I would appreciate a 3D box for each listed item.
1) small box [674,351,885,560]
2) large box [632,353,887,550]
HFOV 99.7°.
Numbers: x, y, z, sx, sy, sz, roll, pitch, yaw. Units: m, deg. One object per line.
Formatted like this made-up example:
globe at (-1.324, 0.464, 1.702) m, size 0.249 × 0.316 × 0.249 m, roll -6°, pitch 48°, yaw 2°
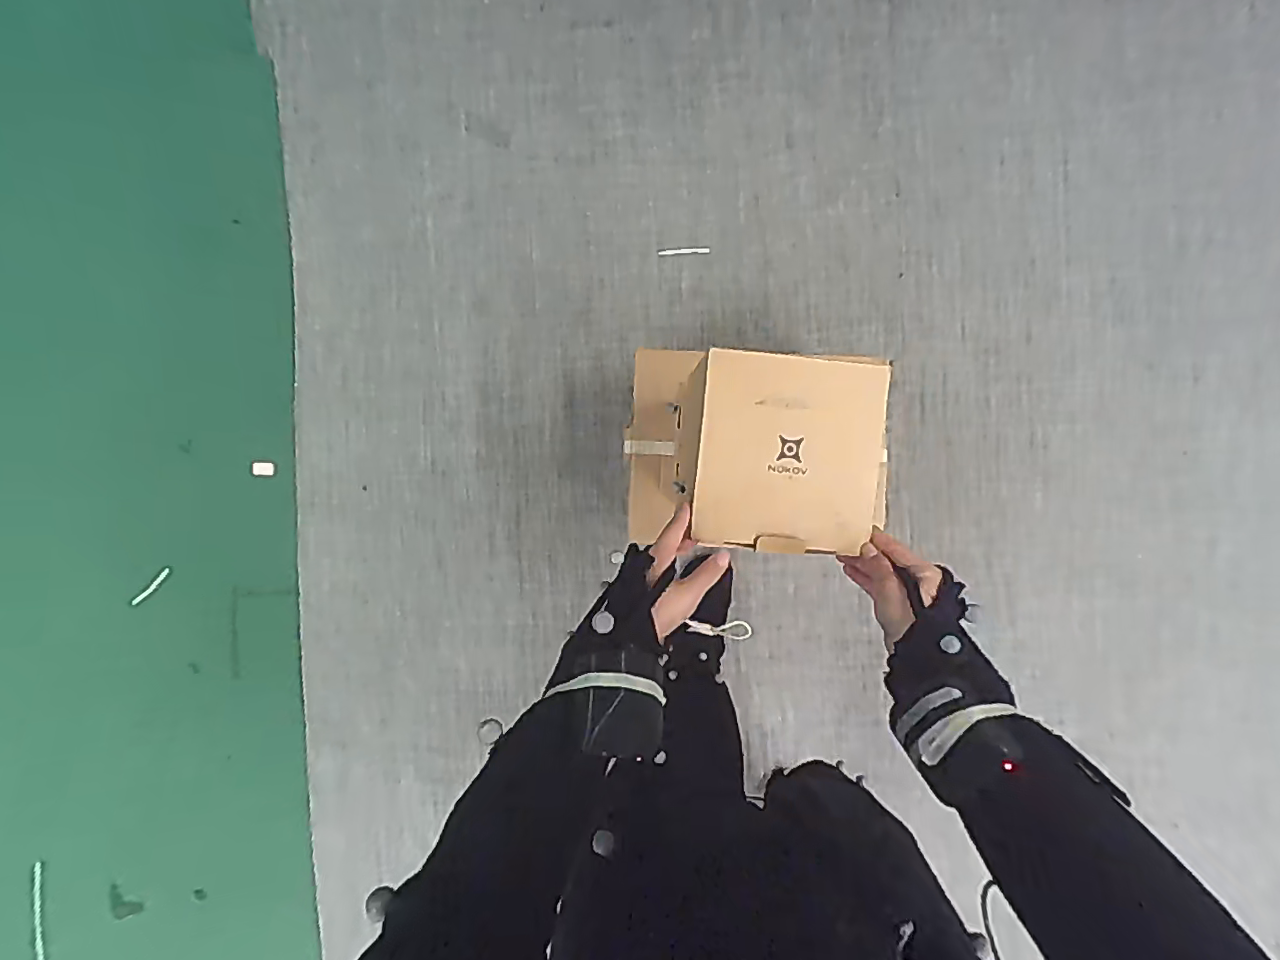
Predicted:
small box at (0.129, -0.022, 0.562) m, size 0.168 × 0.176 × 0.179 m, roll 5°, pitch 90°, yaw -2°
large box at (0.190, -0.045, 1.006) m, size 0.408 × 0.320 × 0.320 m, roll 2°, pitch 91°, yaw 1°
